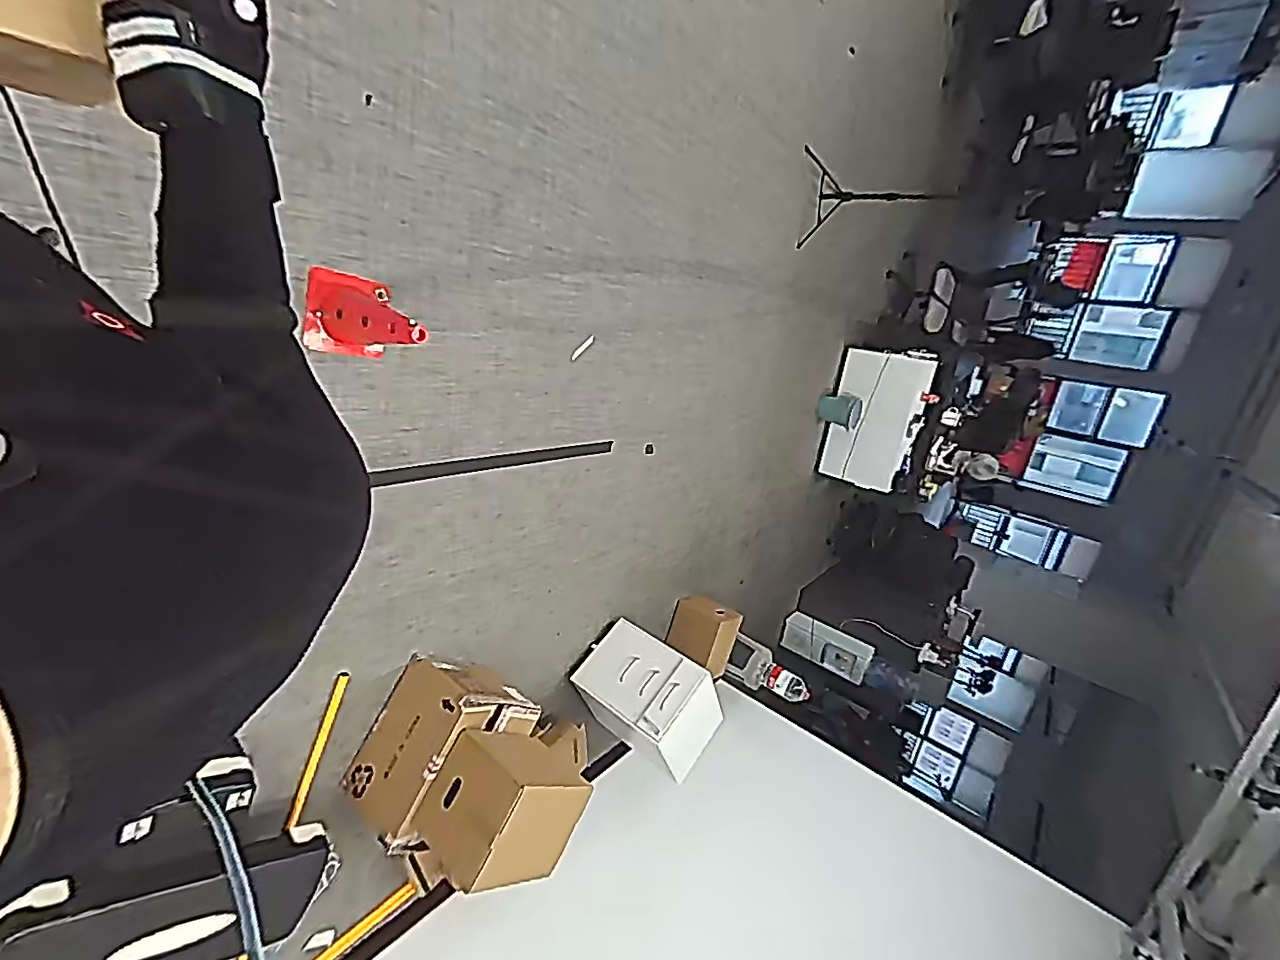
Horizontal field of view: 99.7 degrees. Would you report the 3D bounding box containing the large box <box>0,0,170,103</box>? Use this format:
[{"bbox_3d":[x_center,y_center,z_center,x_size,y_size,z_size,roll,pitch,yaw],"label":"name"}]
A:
[{"bbox_3d":[-0.551,-0.443,0.270,0.408,0.320,0.320,-14,121,-50],"label":"large box"}]

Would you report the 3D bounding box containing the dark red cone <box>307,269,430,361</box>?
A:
[{"bbox_3d":[-0.609,-0.361,1.274,0.201,0.394,0.202,-3,109,-51],"label":"dark red cone"}]
